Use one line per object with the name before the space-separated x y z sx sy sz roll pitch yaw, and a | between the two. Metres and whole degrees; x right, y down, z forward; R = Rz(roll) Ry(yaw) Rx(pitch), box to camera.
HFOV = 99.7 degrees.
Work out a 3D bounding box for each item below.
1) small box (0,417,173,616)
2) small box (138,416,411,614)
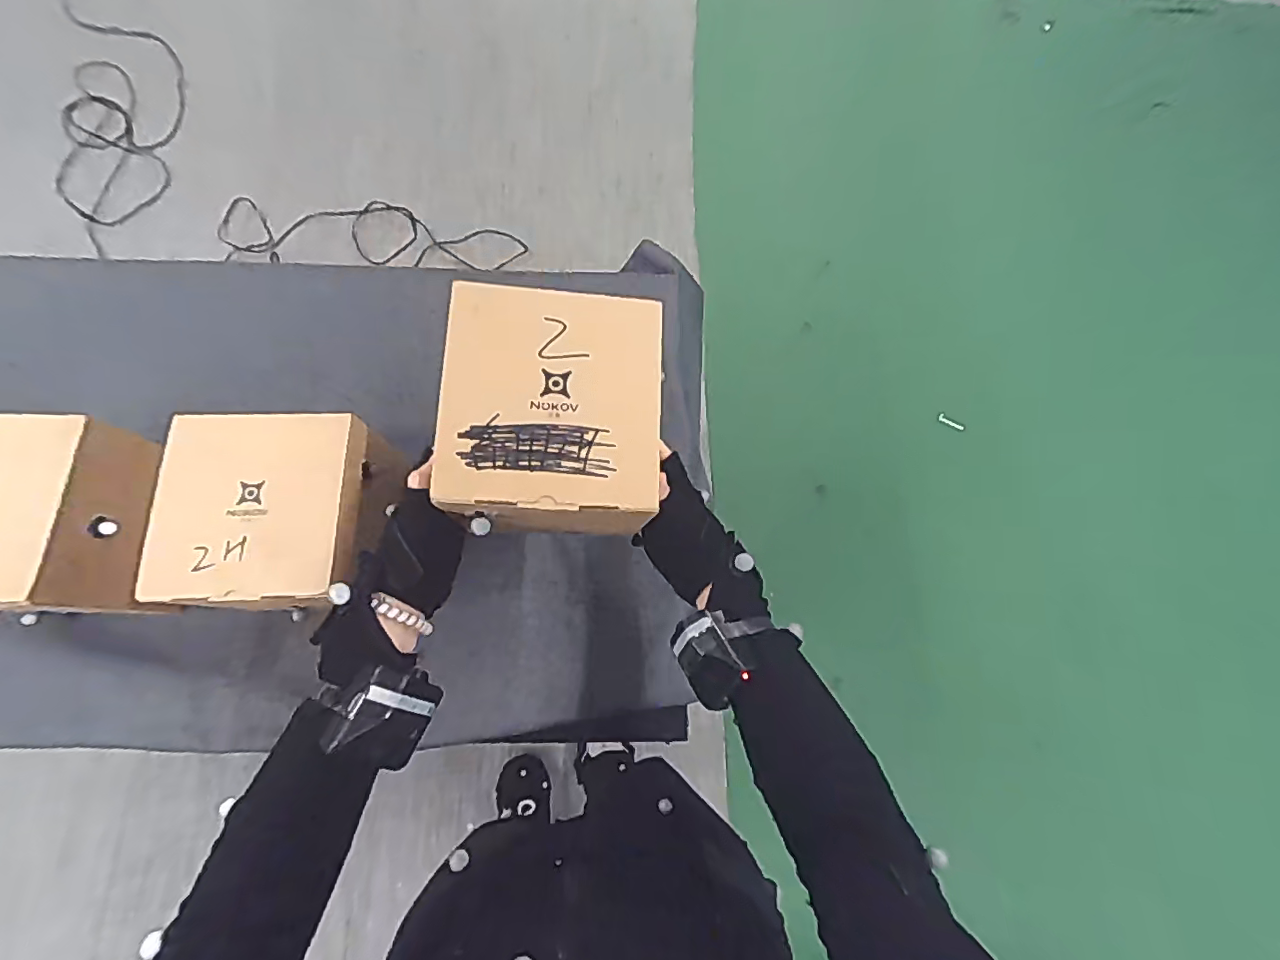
small box | -0.597 0.047 0.552 0.168 0.176 0.179 1 73 -3
small box | -0.354 0.045 0.566 0.168 0.176 0.179 -1 74 -3
